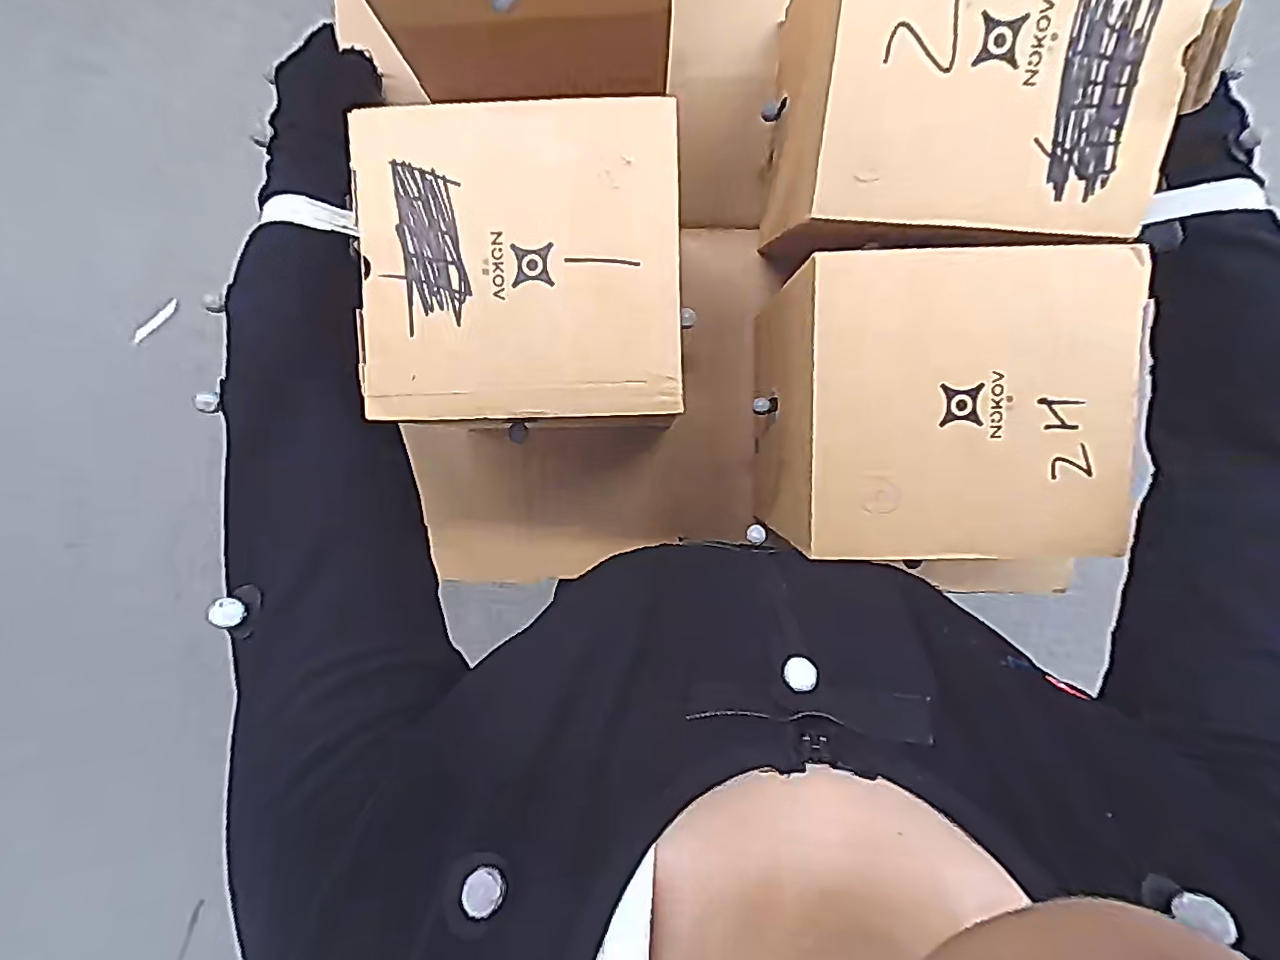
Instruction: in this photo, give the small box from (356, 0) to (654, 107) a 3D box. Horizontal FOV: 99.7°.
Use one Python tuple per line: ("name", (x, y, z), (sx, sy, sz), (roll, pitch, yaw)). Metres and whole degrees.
("small box", (-0.082, -0.361, 0.323), (0.179, 0.176, 0.168), (-5, 96, 2))
